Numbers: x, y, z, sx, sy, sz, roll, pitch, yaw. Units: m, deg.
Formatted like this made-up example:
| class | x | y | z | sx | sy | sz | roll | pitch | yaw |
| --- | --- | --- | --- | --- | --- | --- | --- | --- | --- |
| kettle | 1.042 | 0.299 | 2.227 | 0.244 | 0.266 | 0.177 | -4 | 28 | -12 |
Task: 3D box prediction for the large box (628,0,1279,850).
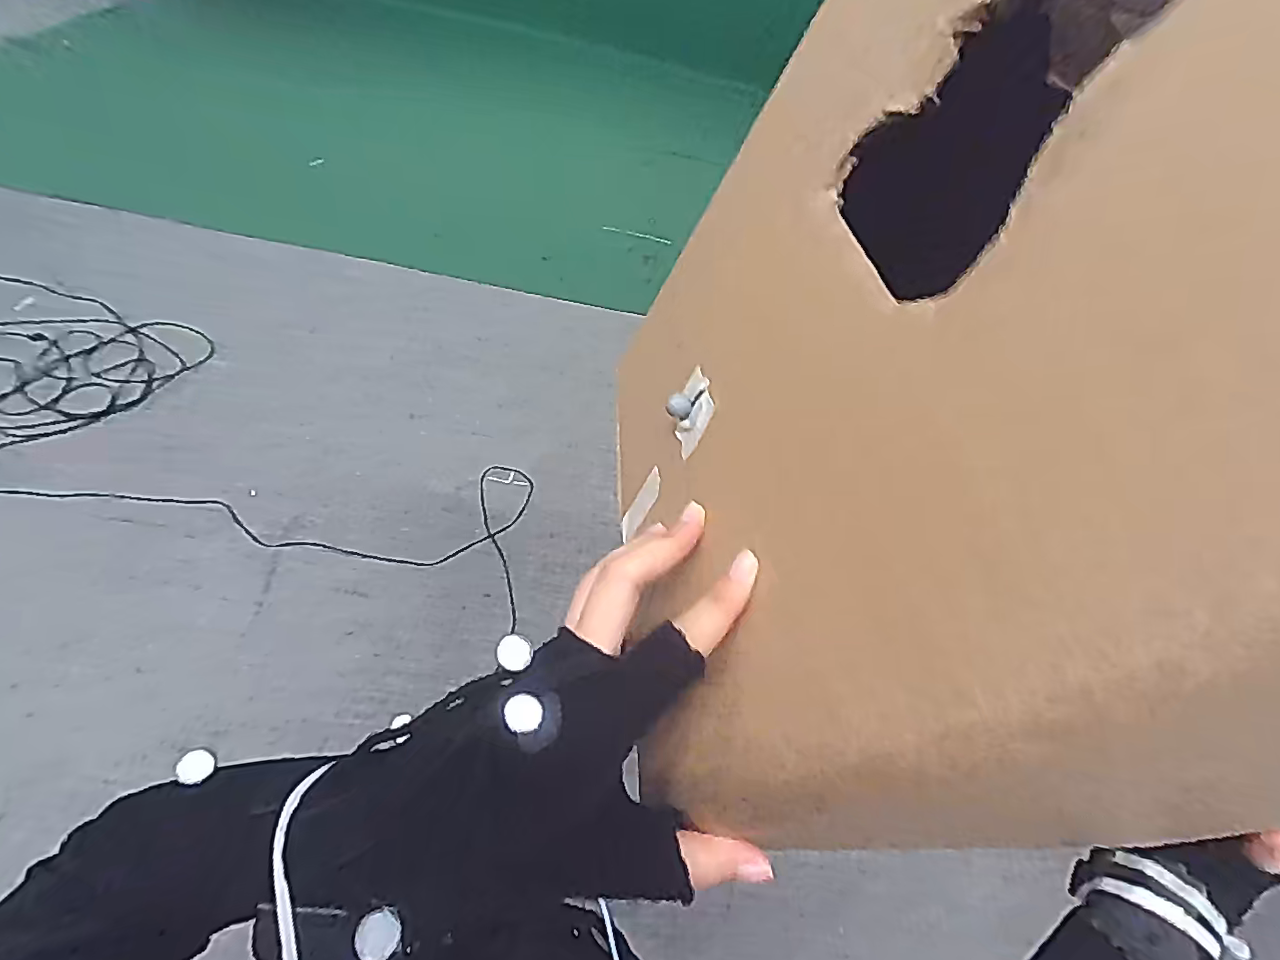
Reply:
| class | x | y | z | sx | sy | sz | roll | pitch | yaw |
| --- | --- | --- | --- | --- | --- | --- | --- | --- | --- |
| large box | 0.242 | 0.000 | 0.305 | 0.408 | 0.320 | 0.320 | 16 | 47 | -23 |
